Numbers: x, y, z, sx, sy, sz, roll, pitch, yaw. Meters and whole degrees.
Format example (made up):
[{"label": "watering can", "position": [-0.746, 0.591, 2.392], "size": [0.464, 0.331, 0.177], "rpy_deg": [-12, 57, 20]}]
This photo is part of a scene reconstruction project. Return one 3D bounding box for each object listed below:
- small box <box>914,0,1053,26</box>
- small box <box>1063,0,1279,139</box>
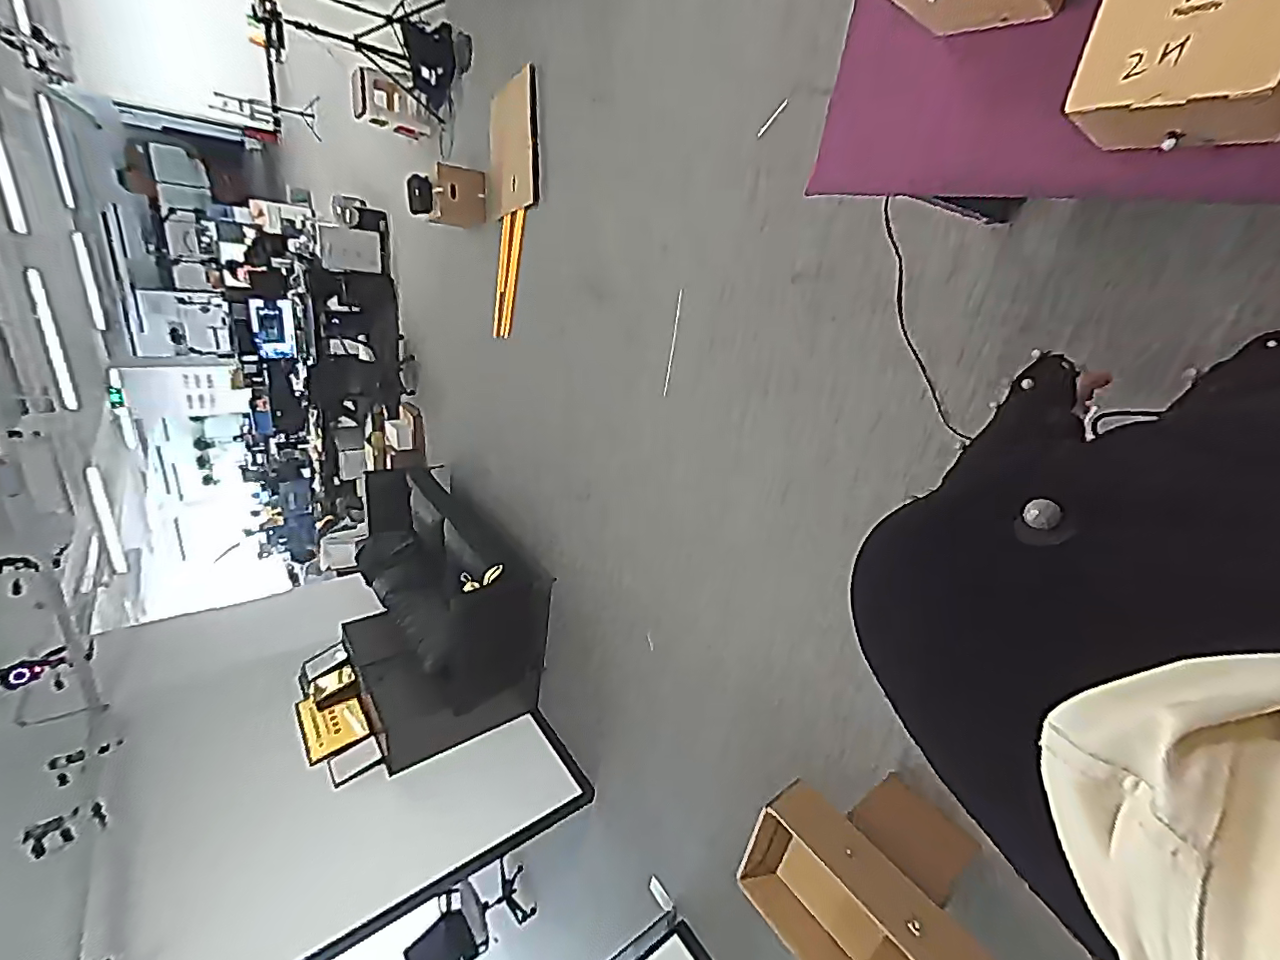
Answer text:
[{"label": "small box", "position": [0.443, -0.718, 0.678], "size": [0.168, 0.176, 0.179], "rpy_deg": [35, 124, 44]}, {"label": "small box", "position": [0.587, -0.476, 0.557], "size": [0.168, 0.176, 0.179], "rpy_deg": [31, 122, 44]}]
